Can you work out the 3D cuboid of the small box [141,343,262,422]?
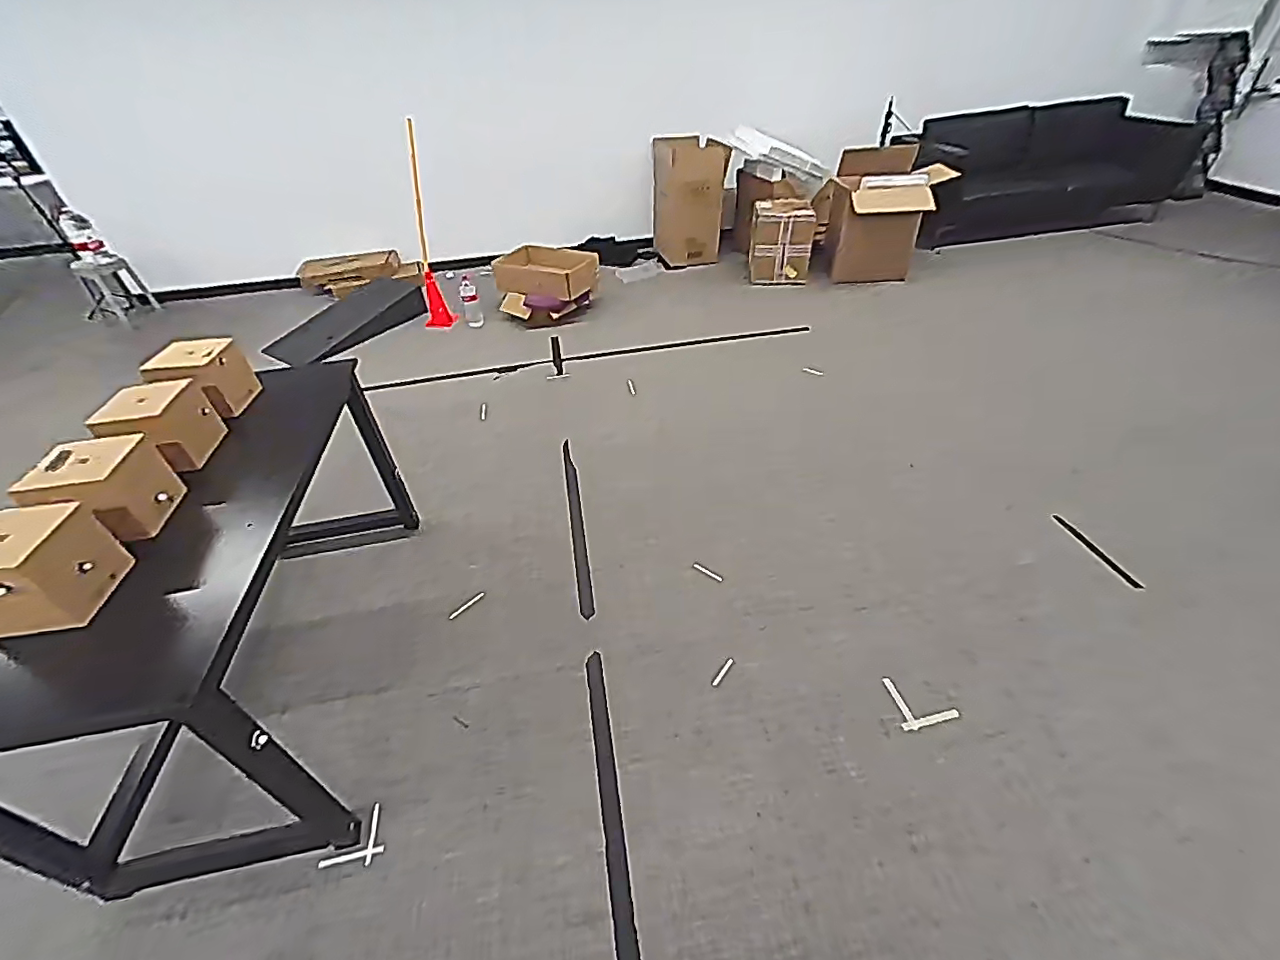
[{"bbox_3d":[-1.240,-0.272,1.546,0.179,0.176,0.168,-6,41,-1],"label":"small box"}]

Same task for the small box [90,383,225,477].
[{"bbox_3d":[-1.197,-0.120,1.364,0.168,0.176,0.179,-10,41,-5],"label":"small box"}]

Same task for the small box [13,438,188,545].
[{"bbox_3d":[-1.151,0.033,1.173,0.179,0.176,0.168,-9,40,-8],"label":"small box"}]

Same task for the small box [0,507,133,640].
[{"bbox_3d":[-1.116,0.174,1.001,0.179,0.176,0.168,-7,39,-4],"label":"small box"}]
